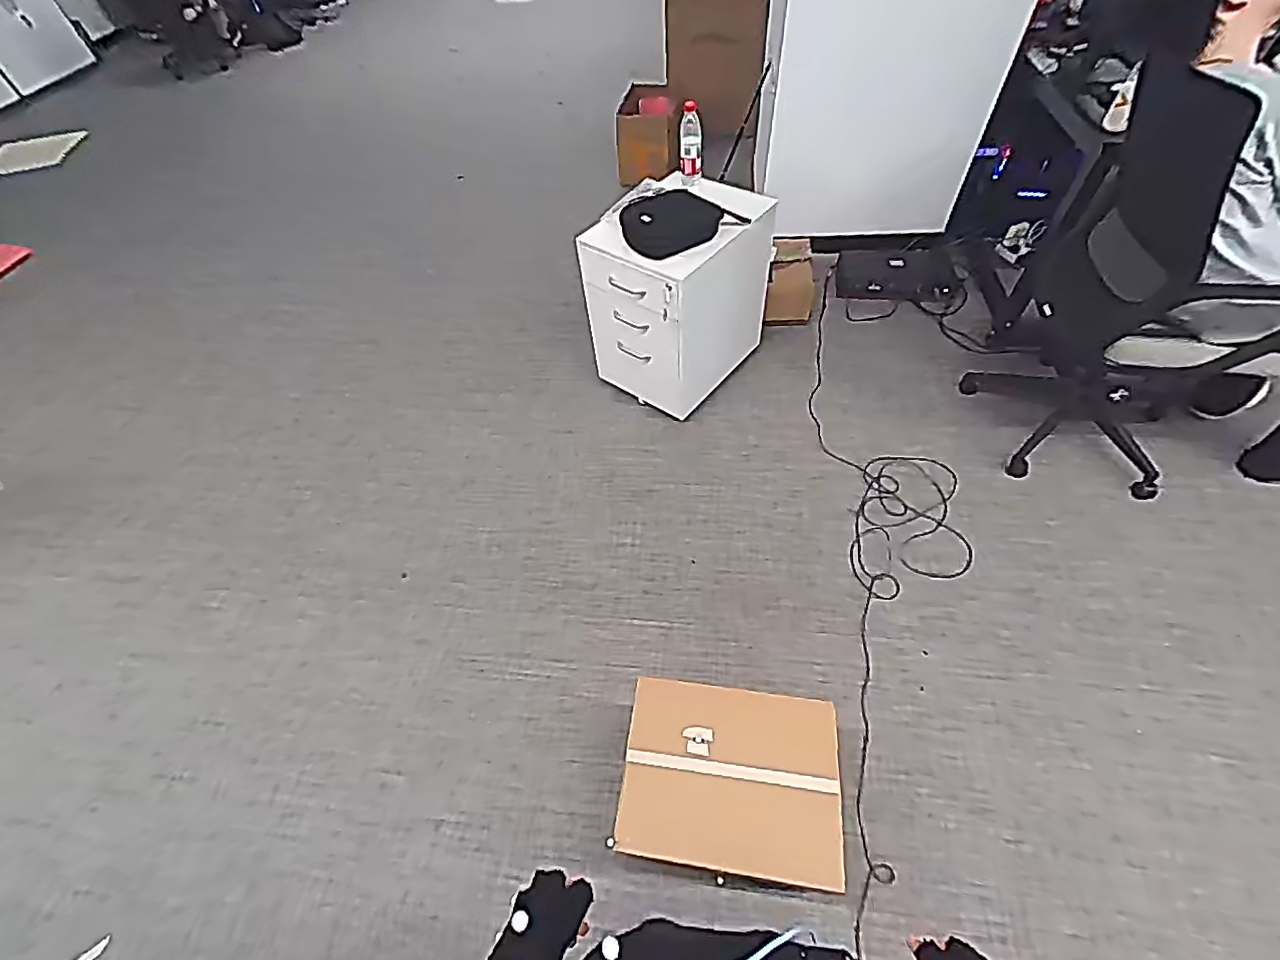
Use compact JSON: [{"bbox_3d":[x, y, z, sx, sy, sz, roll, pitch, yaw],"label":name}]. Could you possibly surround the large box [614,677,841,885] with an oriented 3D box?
[{"bbox_3d":[0.182,0.642,1.156,0.408,0.320,0.320,5,54,9],"label":"large box"}]
